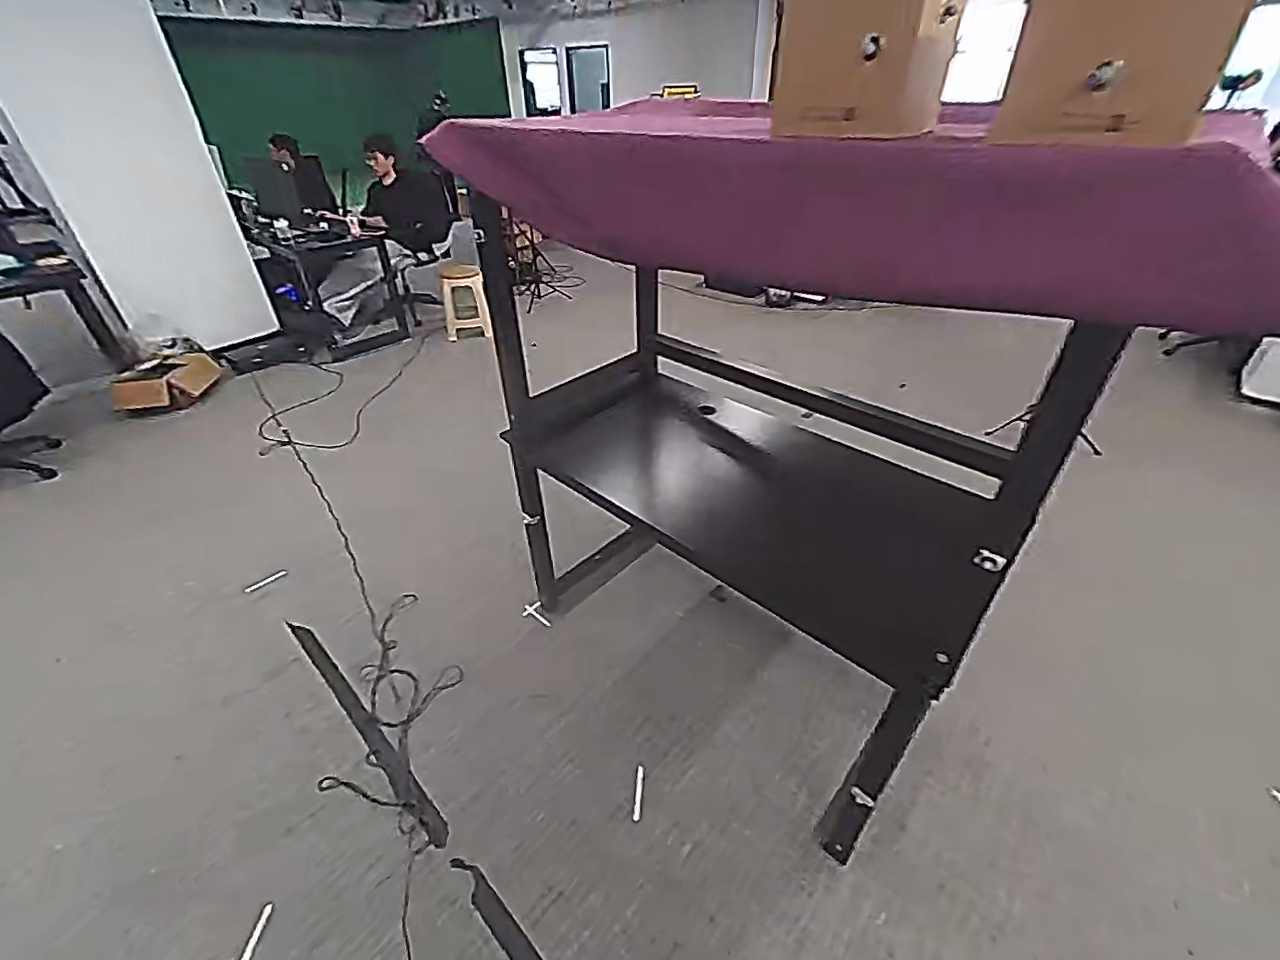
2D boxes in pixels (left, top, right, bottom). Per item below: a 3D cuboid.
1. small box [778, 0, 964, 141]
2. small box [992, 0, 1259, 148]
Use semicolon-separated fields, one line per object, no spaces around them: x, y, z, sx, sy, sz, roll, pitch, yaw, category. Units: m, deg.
0.291;-0.537;0.690;0.168;0.176;0.179;25;43;31;small box
0.474;-0.432;0.531;0.168;0.176;0.179;21;41;30;small box
